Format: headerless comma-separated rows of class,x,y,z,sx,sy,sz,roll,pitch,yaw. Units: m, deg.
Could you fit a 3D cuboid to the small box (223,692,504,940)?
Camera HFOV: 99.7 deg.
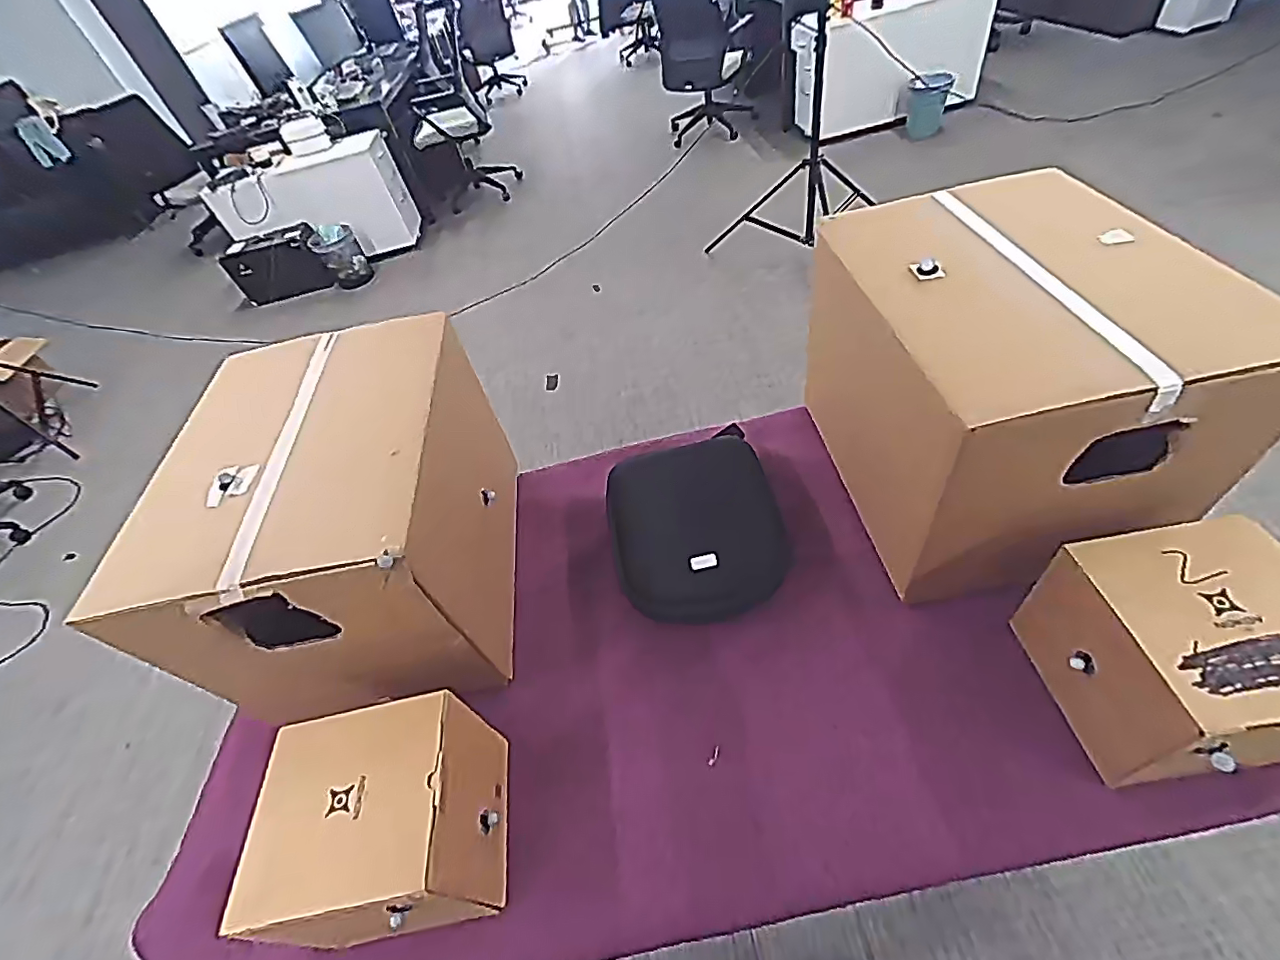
small box,-0.254,0.344,0.550,0.179,0.176,0.168,-14,47,1

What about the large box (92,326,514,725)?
large box,-0.365,0.058,0.731,0.320,0.320,0.408,-12,50,1
